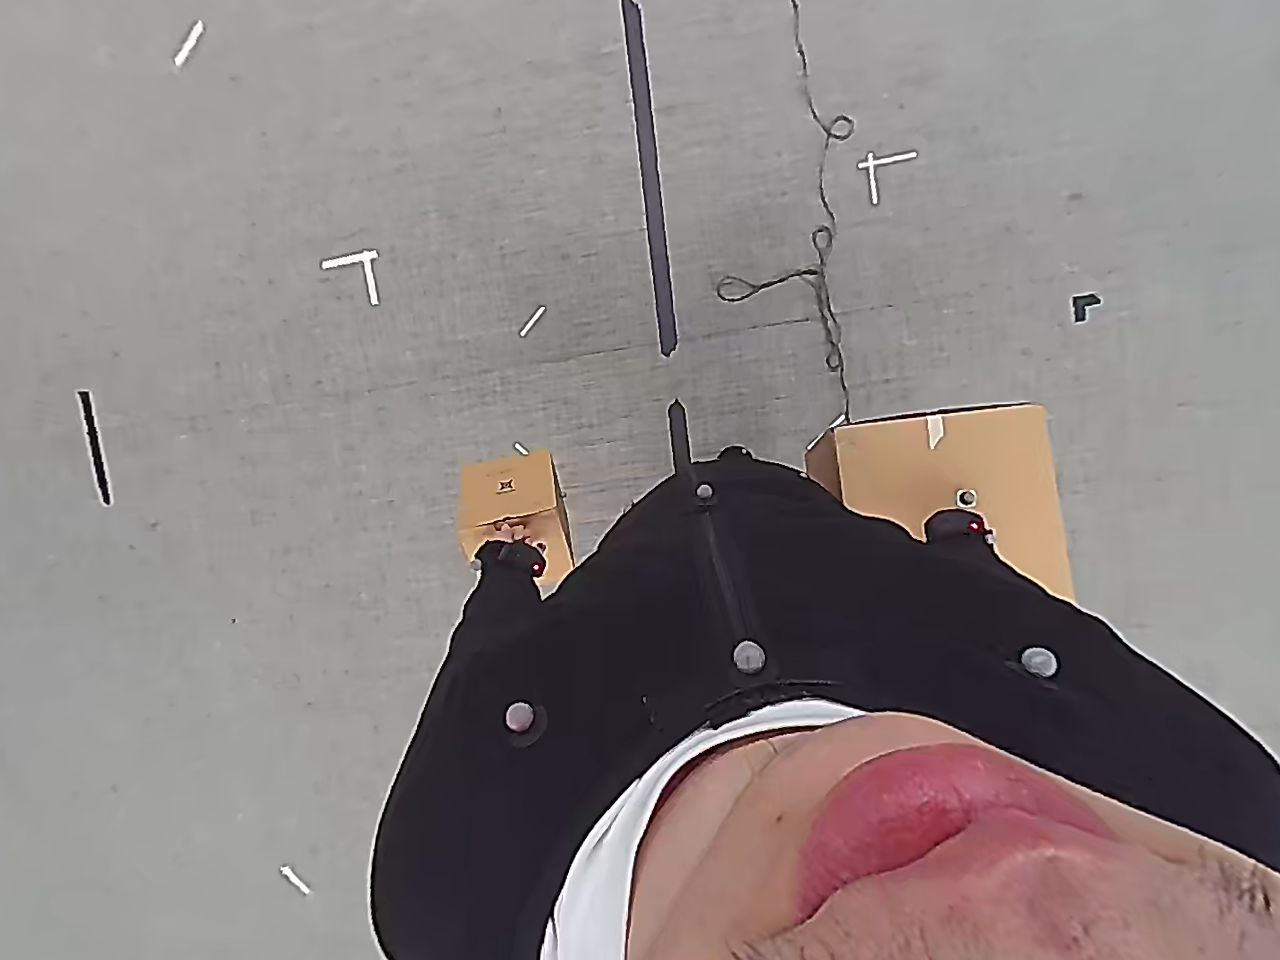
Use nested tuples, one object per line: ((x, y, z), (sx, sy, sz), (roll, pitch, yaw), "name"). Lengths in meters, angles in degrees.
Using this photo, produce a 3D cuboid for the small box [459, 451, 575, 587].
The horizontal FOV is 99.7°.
((-0.221, 0.076, 0.992), (0.168, 0.179, 0.176), (-12, 127, -6), "small box")
